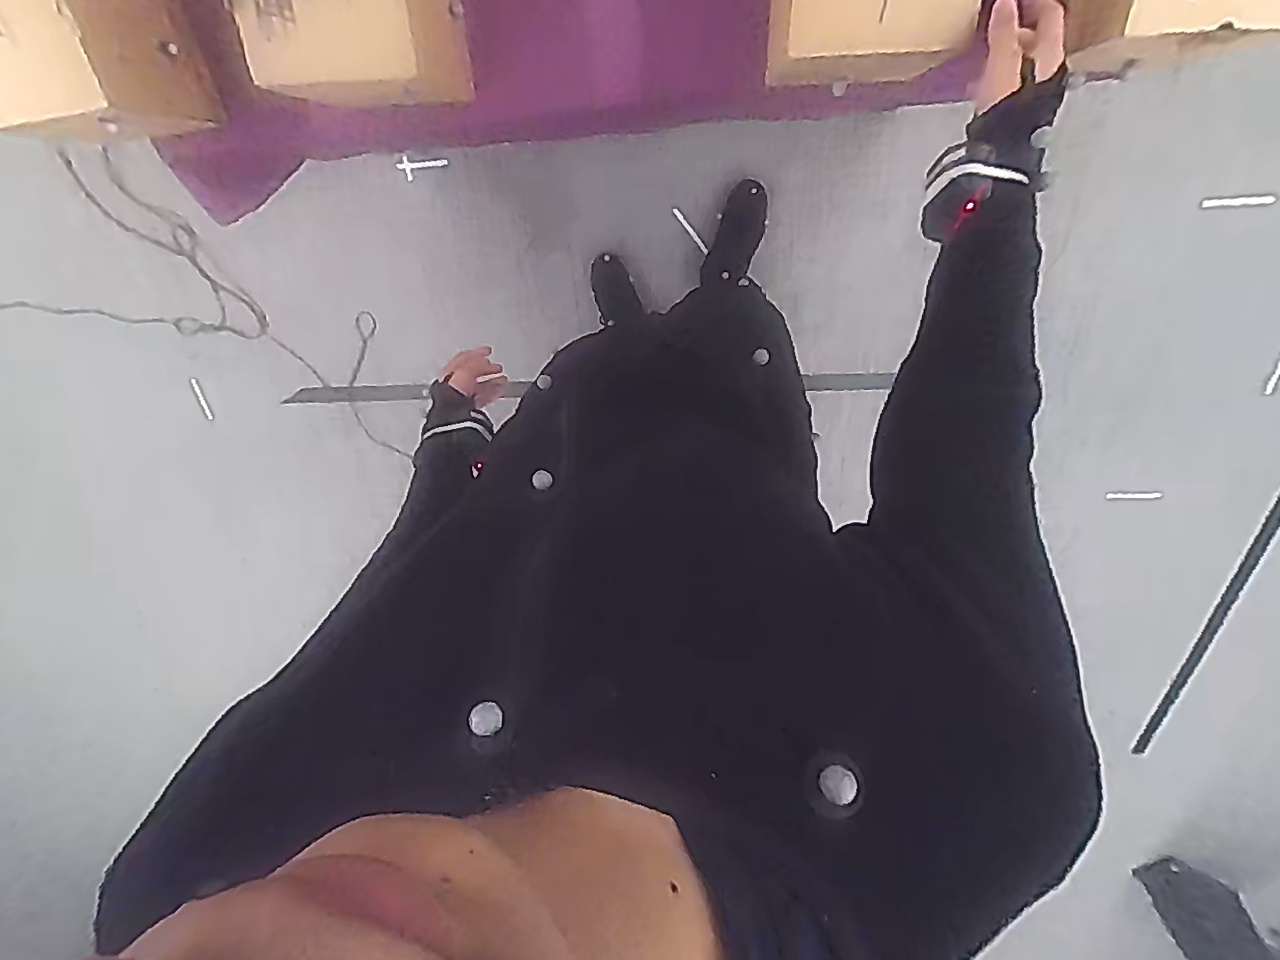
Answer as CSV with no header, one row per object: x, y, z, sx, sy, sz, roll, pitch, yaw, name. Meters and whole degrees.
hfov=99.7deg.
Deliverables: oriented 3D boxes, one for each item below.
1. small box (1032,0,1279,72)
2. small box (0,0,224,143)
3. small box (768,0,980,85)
0.504,-0.498,0.491,0.168,0.176,0.179,2,118,6,small box
-0.640,-0.494,0.613,0.179,0.176,0.168,-5,118,7,small box
0.220,-0.503,0.520,0.168,0.176,0.179,1,120,5,small box
